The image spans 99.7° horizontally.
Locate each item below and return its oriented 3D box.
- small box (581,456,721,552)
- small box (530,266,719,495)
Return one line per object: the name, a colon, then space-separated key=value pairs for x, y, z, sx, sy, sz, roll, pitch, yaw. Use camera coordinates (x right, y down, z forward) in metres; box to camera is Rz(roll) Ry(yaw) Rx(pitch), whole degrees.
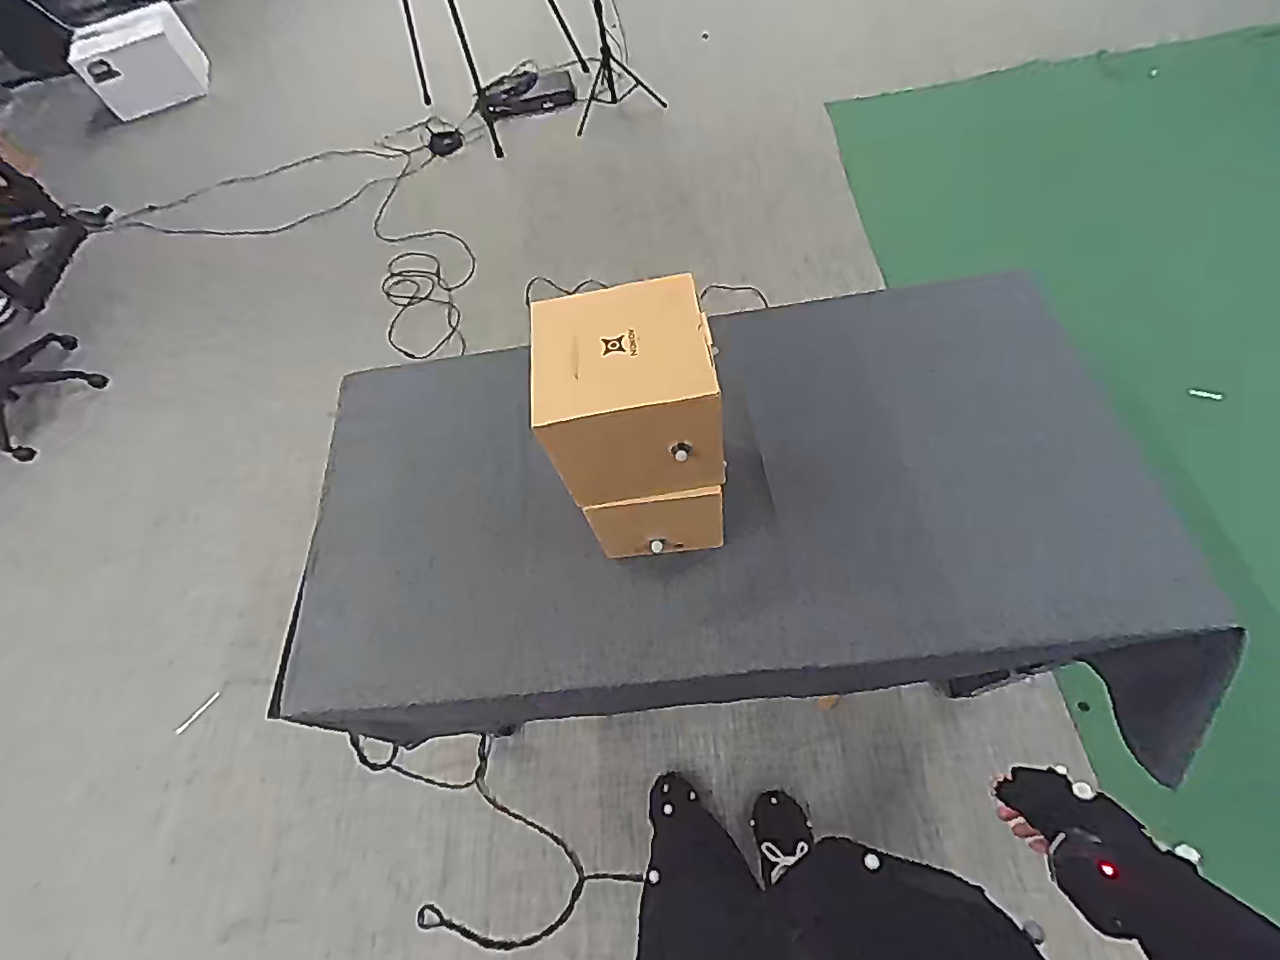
small box: x=0.019 y=-0.019 z=0.734 sx=0.168 sy=0.176 sz=0.179 roll=-7 pitch=61 yaw=6
small box: x=-0.010 y=-0.099 z=0.595 sx=0.179 sy=0.176 sz=0.168 roll=-9 pitch=59 yaw=5
